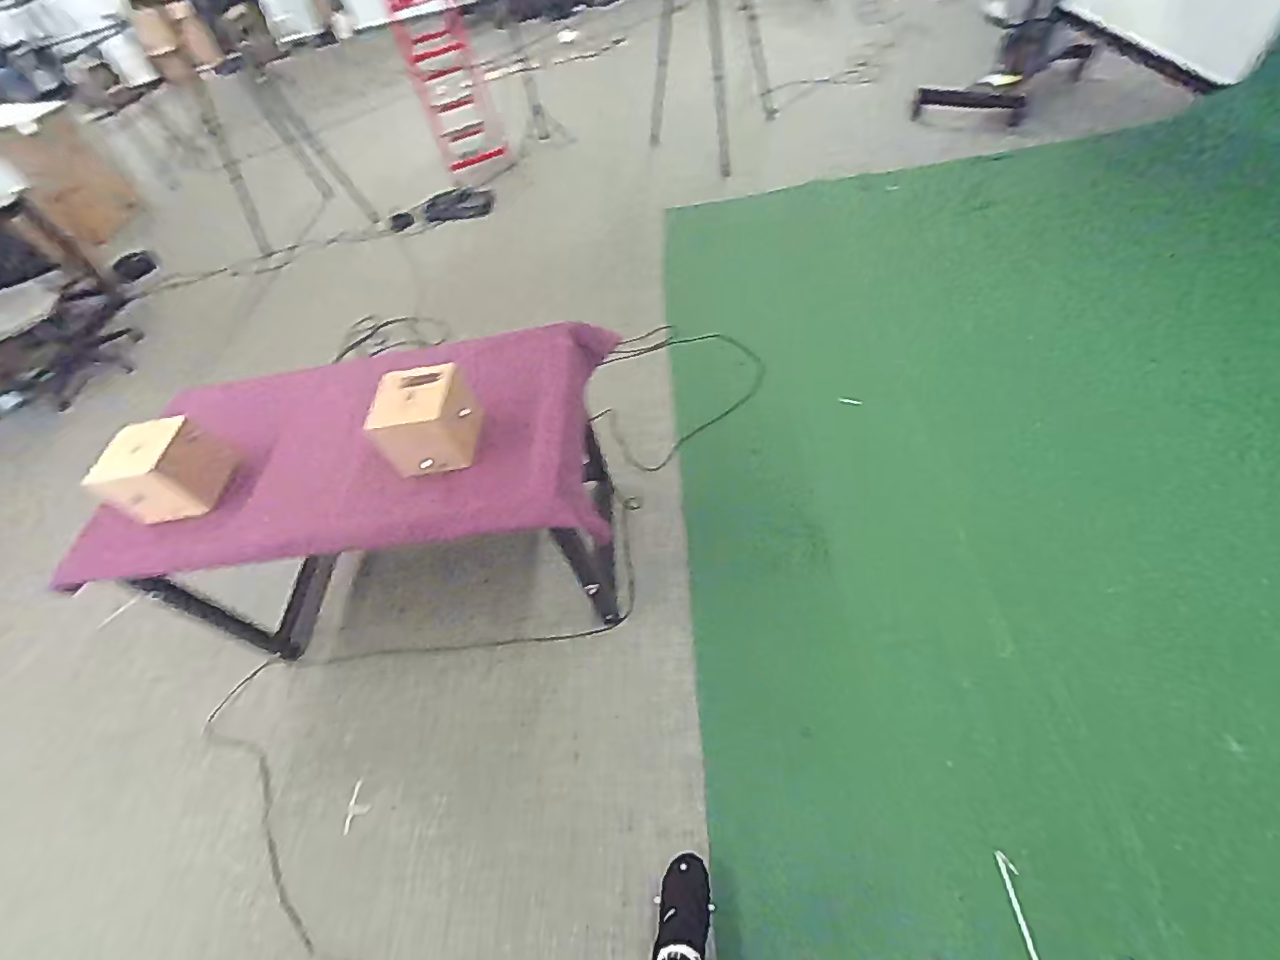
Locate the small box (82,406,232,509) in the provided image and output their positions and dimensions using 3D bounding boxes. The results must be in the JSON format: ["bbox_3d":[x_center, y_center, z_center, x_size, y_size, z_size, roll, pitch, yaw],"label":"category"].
[{"bbox_3d":[-1.121,-0.046,1.276,0.168,0.176,0.179,-8,51,5],"label":"small box"}]
